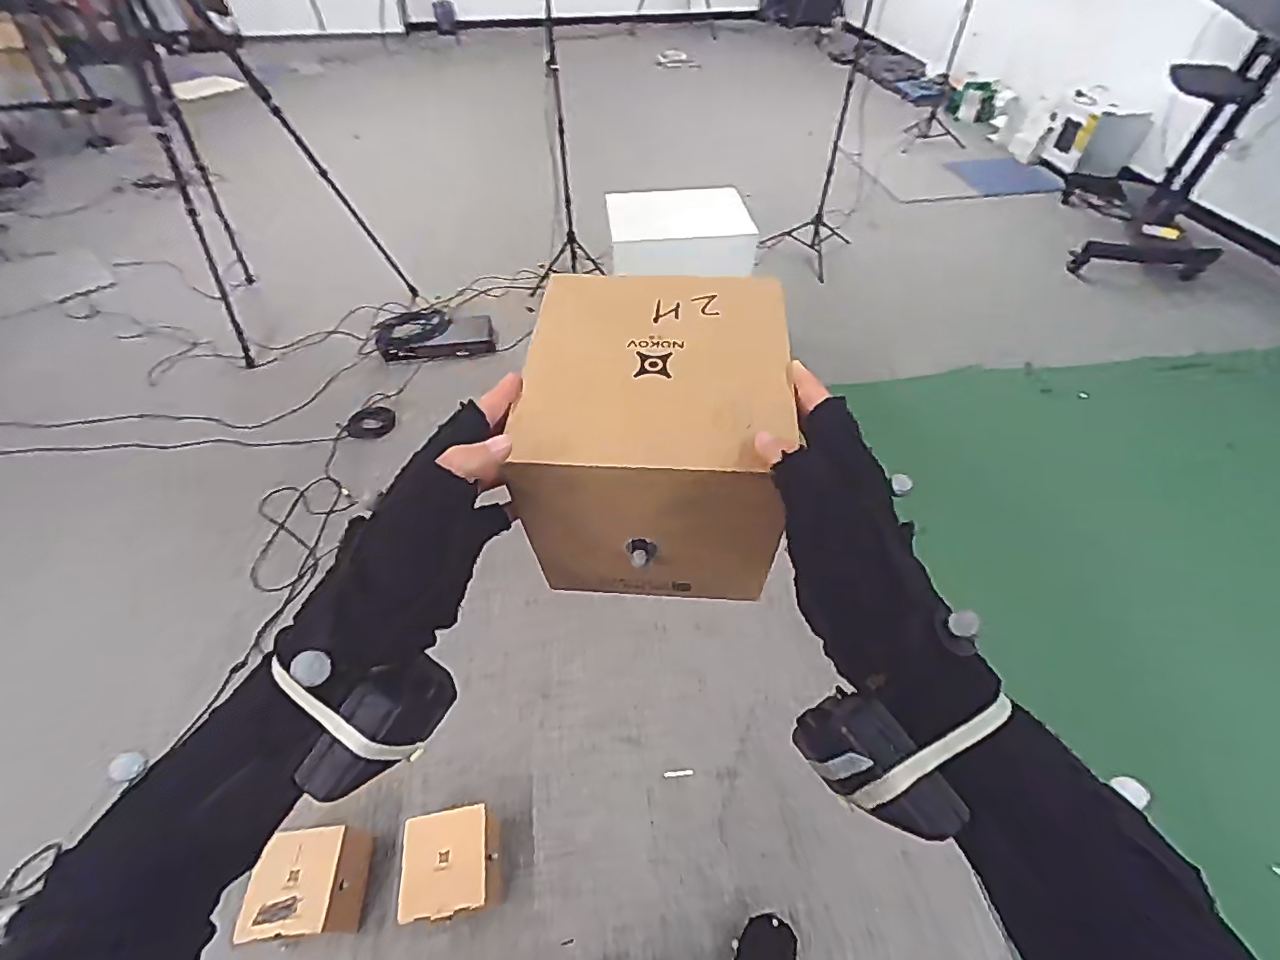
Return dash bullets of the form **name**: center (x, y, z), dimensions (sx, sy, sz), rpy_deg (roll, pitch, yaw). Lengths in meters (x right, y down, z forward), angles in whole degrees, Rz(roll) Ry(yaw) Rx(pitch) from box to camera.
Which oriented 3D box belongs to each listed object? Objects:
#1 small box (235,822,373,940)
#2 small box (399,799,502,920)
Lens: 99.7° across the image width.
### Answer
- **small box**: center (-0.681, 0.833, 1.123), dimensions (0.168, 0.176, 0.179), rpy_deg (-5, 49, -4)
- **small box**: center (-0.393, 0.807, 1.148), dimensions (0.168, 0.176, 0.179), rpy_deg (-8, 51, -7)
